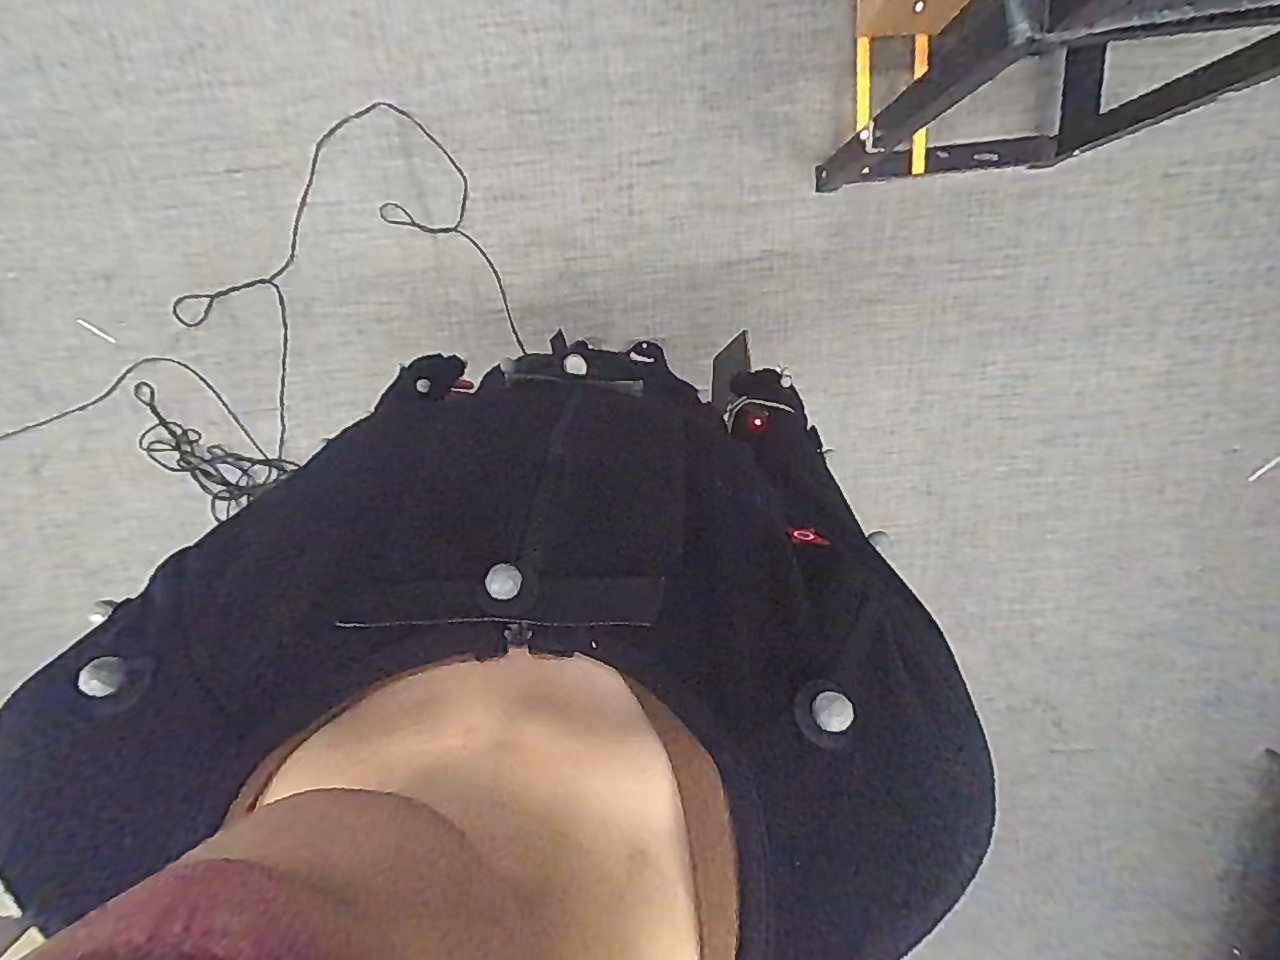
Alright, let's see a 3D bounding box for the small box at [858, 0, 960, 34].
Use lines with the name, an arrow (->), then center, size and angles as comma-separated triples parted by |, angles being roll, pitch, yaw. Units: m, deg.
small box -> 0.540, -1.003, 1.047 | 0.179, 0.176, 0.168 | -2, 105, 0
